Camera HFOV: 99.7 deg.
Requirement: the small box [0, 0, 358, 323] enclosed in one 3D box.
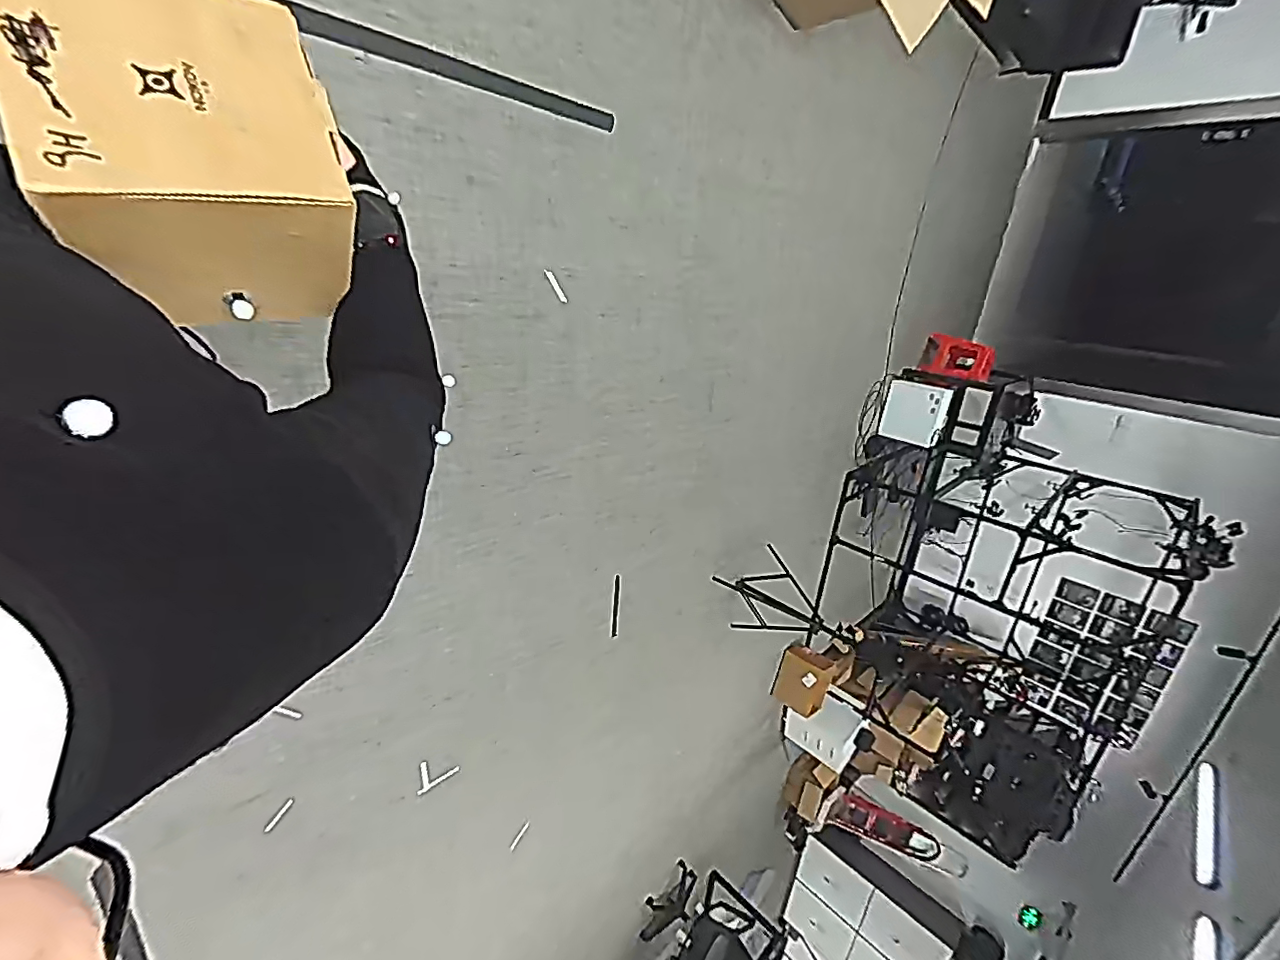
[{"bbox_3d":[-0.353,-0.246,0.441,0.179,0.176,0.168,-17,84,-34],"label":"small box"}]
